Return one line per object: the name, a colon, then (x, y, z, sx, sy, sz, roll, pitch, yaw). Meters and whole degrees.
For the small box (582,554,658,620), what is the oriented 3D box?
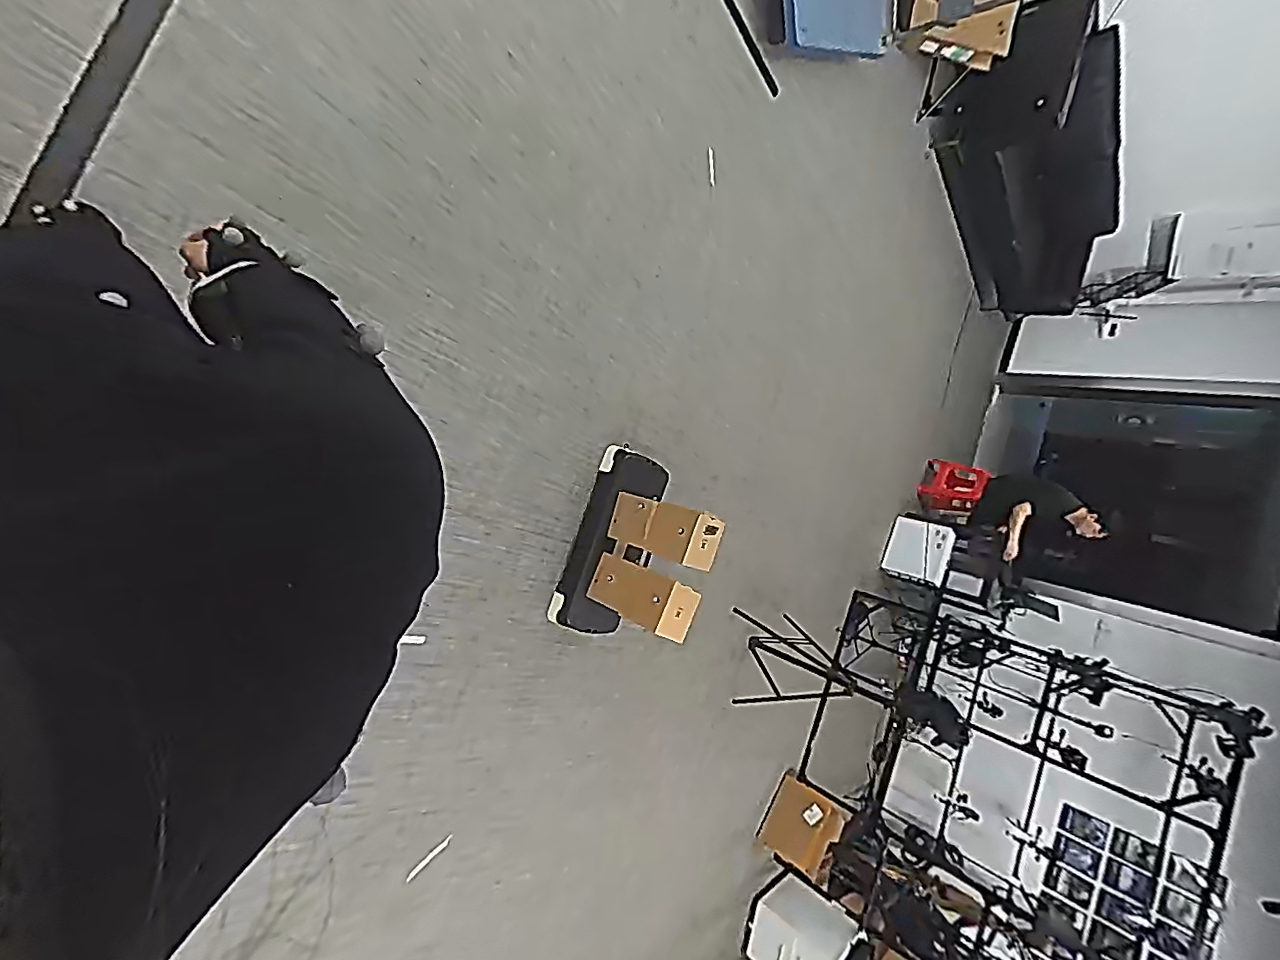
small box: (-0.073, 0.368, 1.880, 0.179, 0.176, 0.168, 32, 77, -47)
